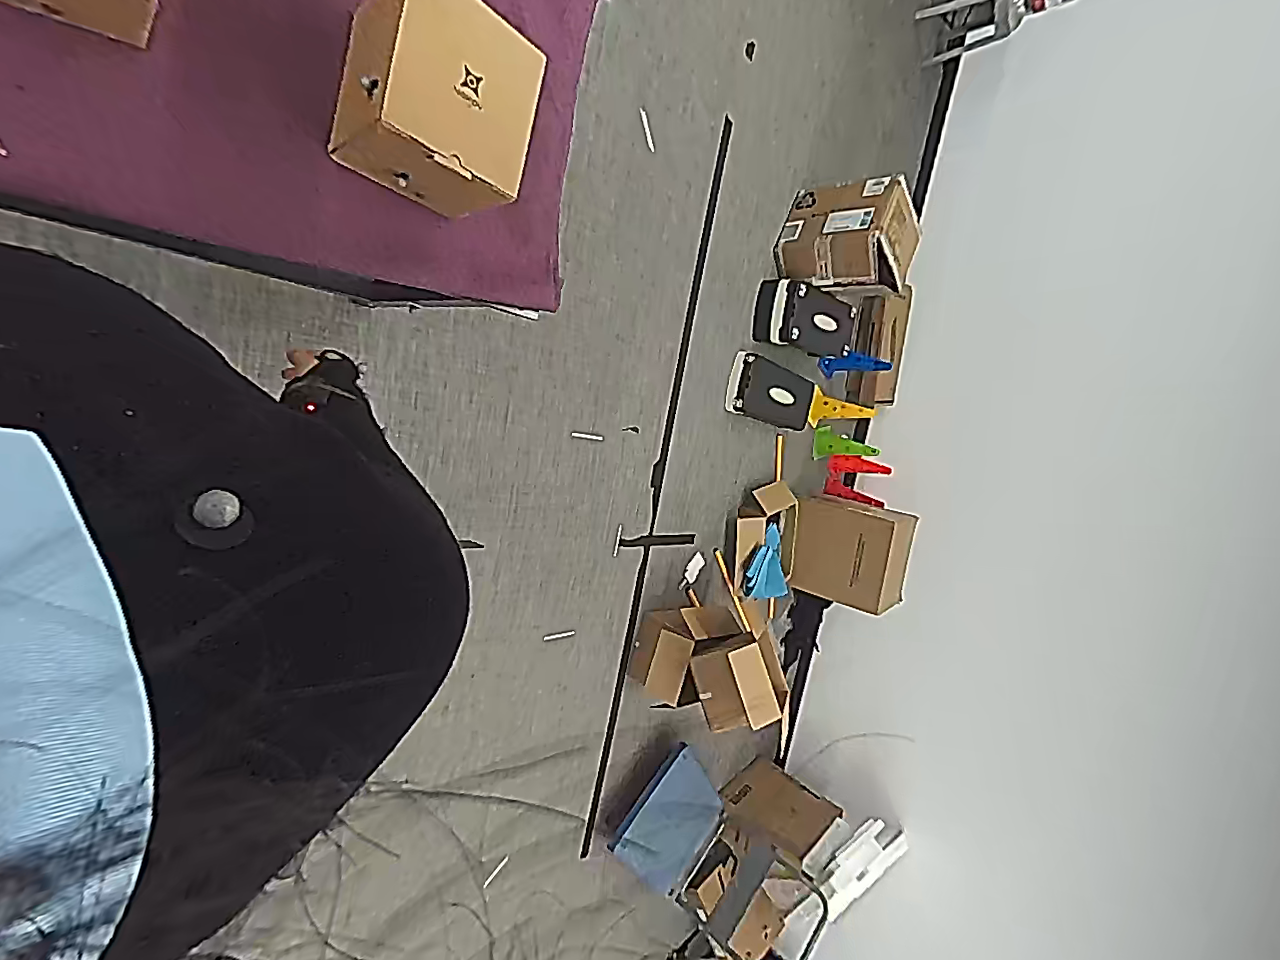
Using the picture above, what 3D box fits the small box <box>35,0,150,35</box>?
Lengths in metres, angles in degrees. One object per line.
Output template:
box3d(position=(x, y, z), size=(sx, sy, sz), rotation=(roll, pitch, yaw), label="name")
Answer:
box3d(position=(-0.475, -0.479, 0.395), size=(0.168, 0.176, 0.179), rotation=(-9, 109, -45), label="small box")

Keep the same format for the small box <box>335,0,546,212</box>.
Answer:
box3d(position=(-0.243, -0.452, 0.650), size=(0.168, 0.176, 0.179), rotation=(10, 95, -47), label="small box")
